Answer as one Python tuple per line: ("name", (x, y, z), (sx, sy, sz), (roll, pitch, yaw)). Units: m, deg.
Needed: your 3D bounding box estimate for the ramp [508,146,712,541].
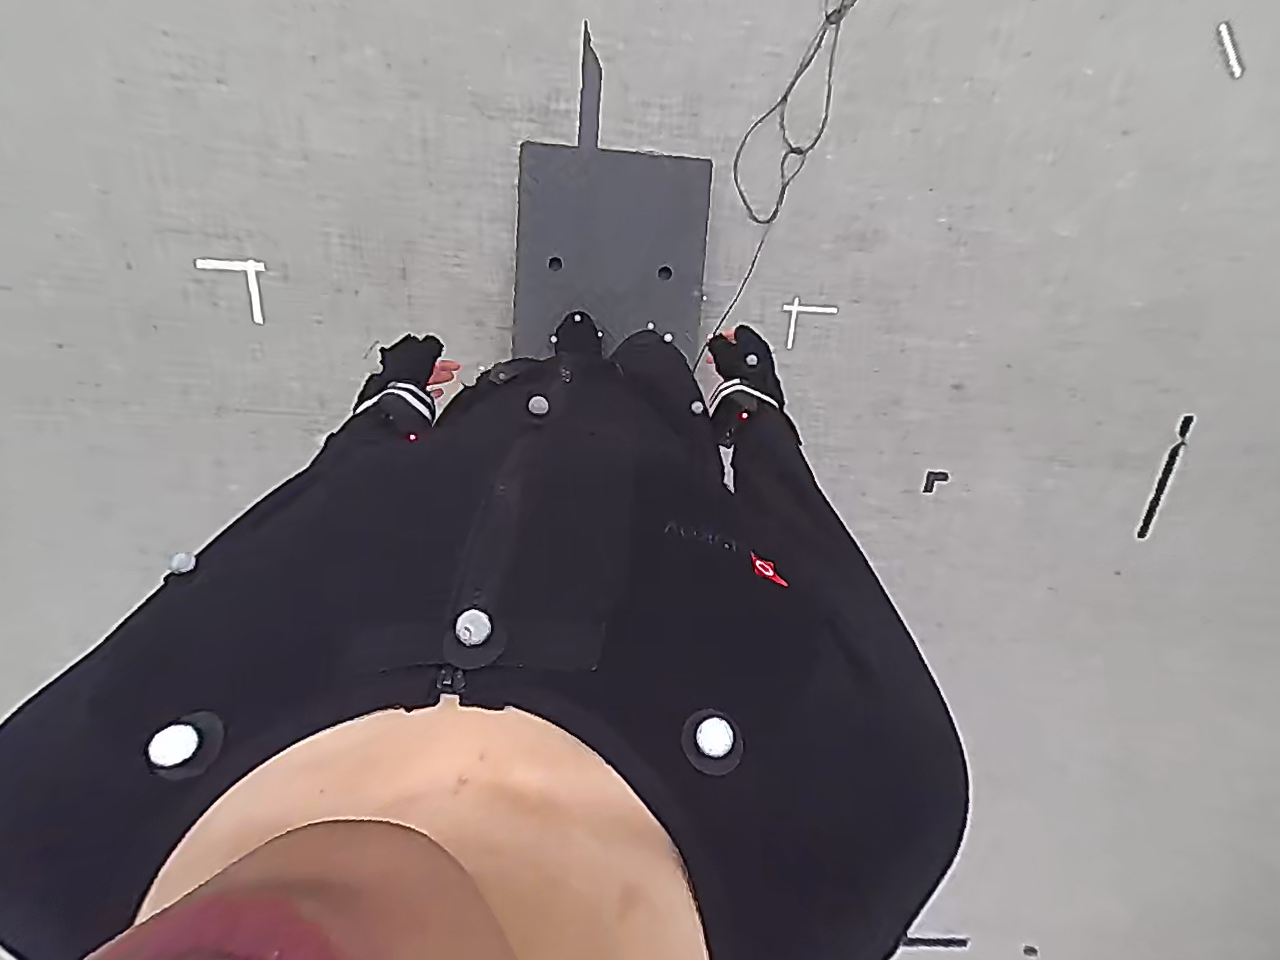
("ramp", (-0.089, -0.339, 1.432), (0.509, 0.206, 0.991), (2, 106, -2))
